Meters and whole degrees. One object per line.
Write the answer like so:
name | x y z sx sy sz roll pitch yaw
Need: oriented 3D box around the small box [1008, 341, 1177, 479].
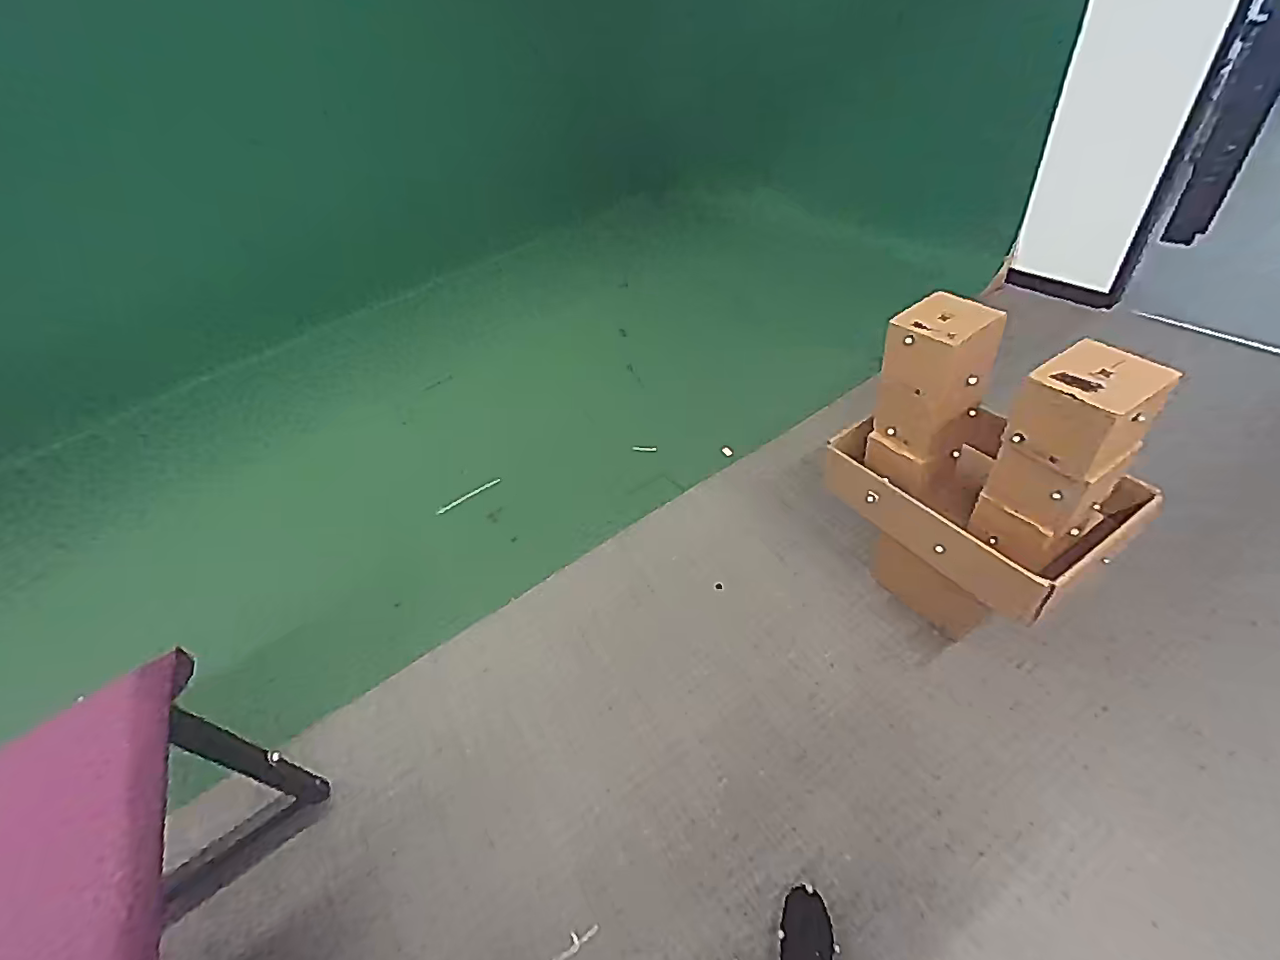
small box | 0.849 -0.132 1.038 0.179 0.176 0.168 -28 47 -14

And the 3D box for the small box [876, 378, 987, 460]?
small box | 0.720 -0.182 1.360 0.179 0.176 0.168 -28 45 -13

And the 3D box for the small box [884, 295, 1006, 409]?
small box | 0.689 -0.295 1.246 0.179 0.176 0.168 -30 45 -17
